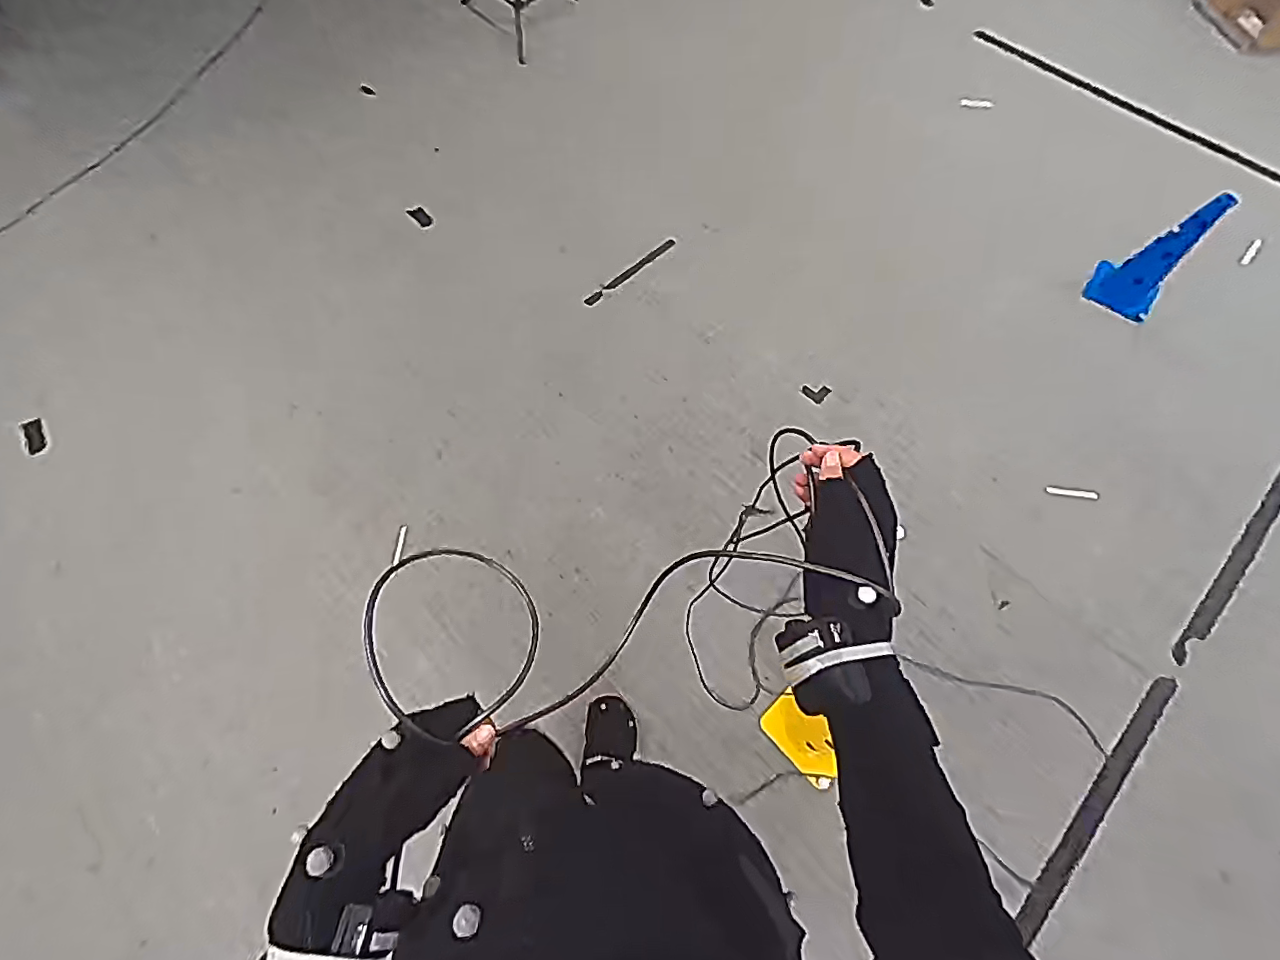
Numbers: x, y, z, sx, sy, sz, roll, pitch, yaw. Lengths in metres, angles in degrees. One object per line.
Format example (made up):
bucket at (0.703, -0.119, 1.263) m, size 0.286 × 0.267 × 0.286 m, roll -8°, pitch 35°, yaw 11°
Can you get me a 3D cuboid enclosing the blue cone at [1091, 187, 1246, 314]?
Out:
blue cone at (1.592, -0.704, 1.618) m, size 0.192 × 0.380 × 0.193 m, roll 37°, pitch 72°, yaw 14°
